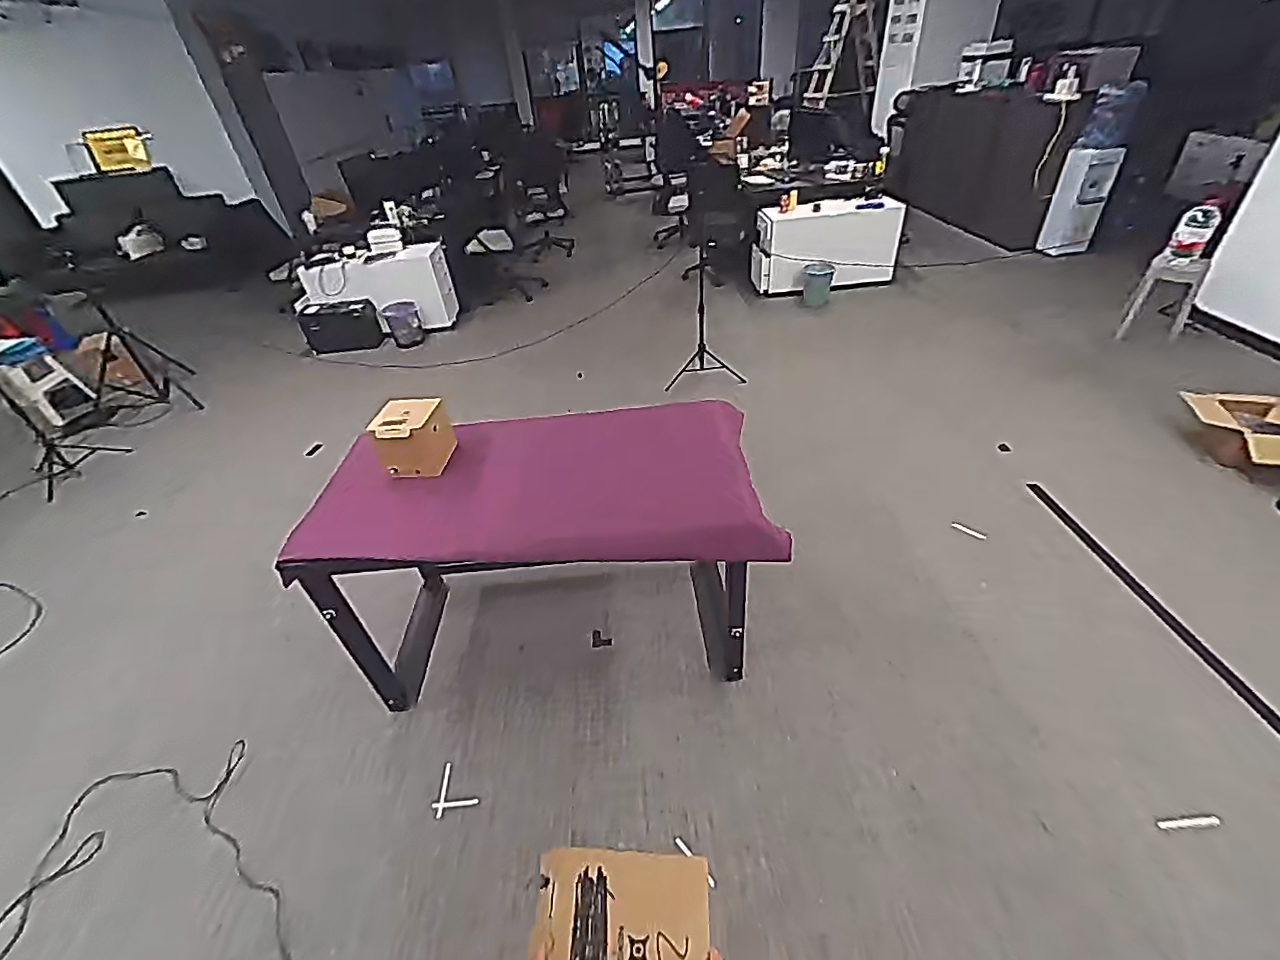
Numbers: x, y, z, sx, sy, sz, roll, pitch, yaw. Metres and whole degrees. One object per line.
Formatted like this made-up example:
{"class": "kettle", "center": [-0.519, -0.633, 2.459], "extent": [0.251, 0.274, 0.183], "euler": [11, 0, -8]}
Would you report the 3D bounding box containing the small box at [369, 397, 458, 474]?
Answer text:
{"class": "small box", "center": [-0.665, -0.130, 1.614], "extent": [0.168, 0.176, 0.179], "euler": [-1, 39, 5]}
